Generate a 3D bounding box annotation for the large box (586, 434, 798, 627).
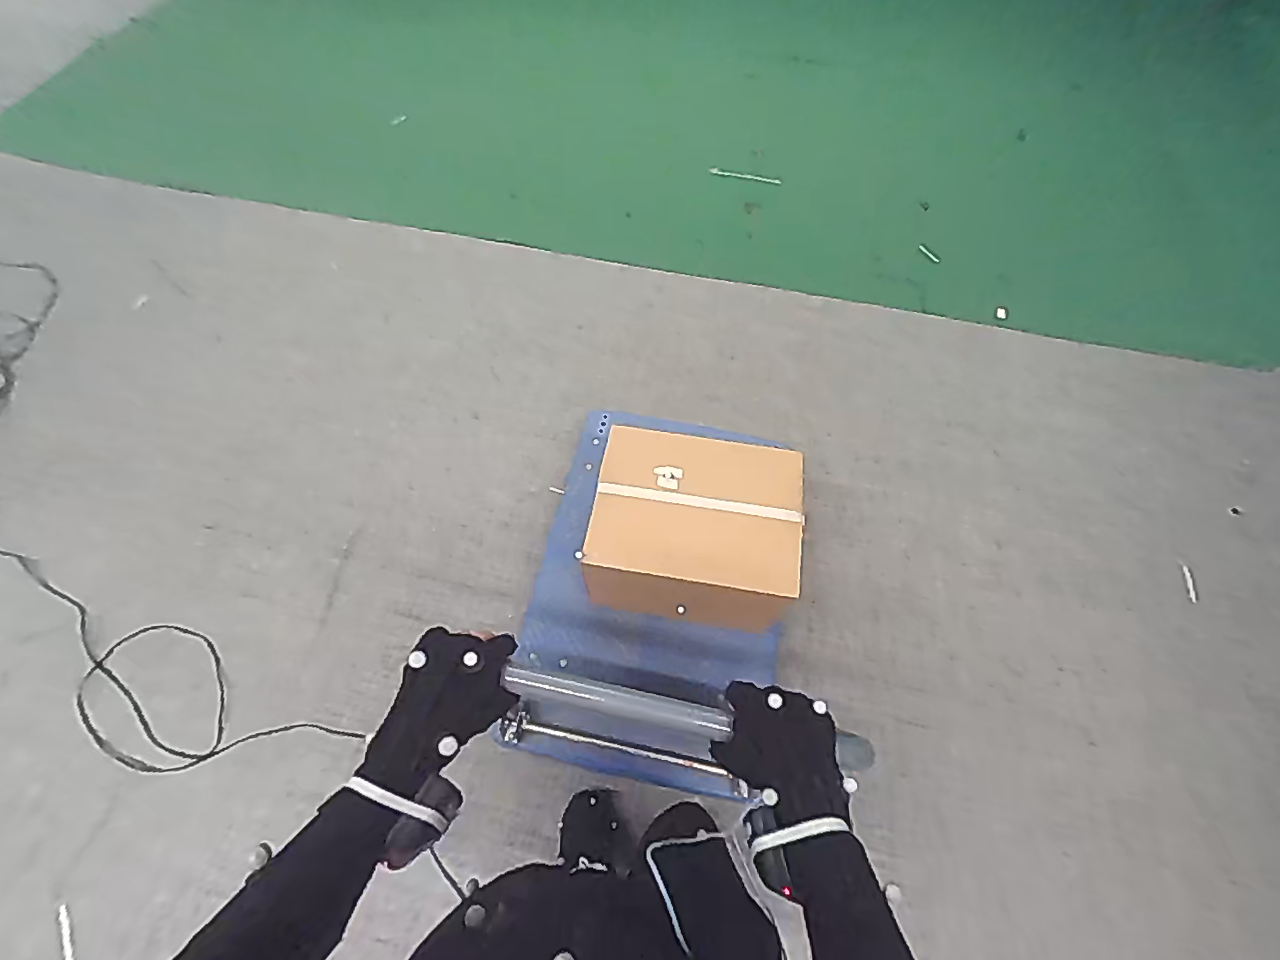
[{"bbox_3d":[0.116,0.124,1.204,0.408,0.320,0.320,7,62,4],"label":"large box"}]
